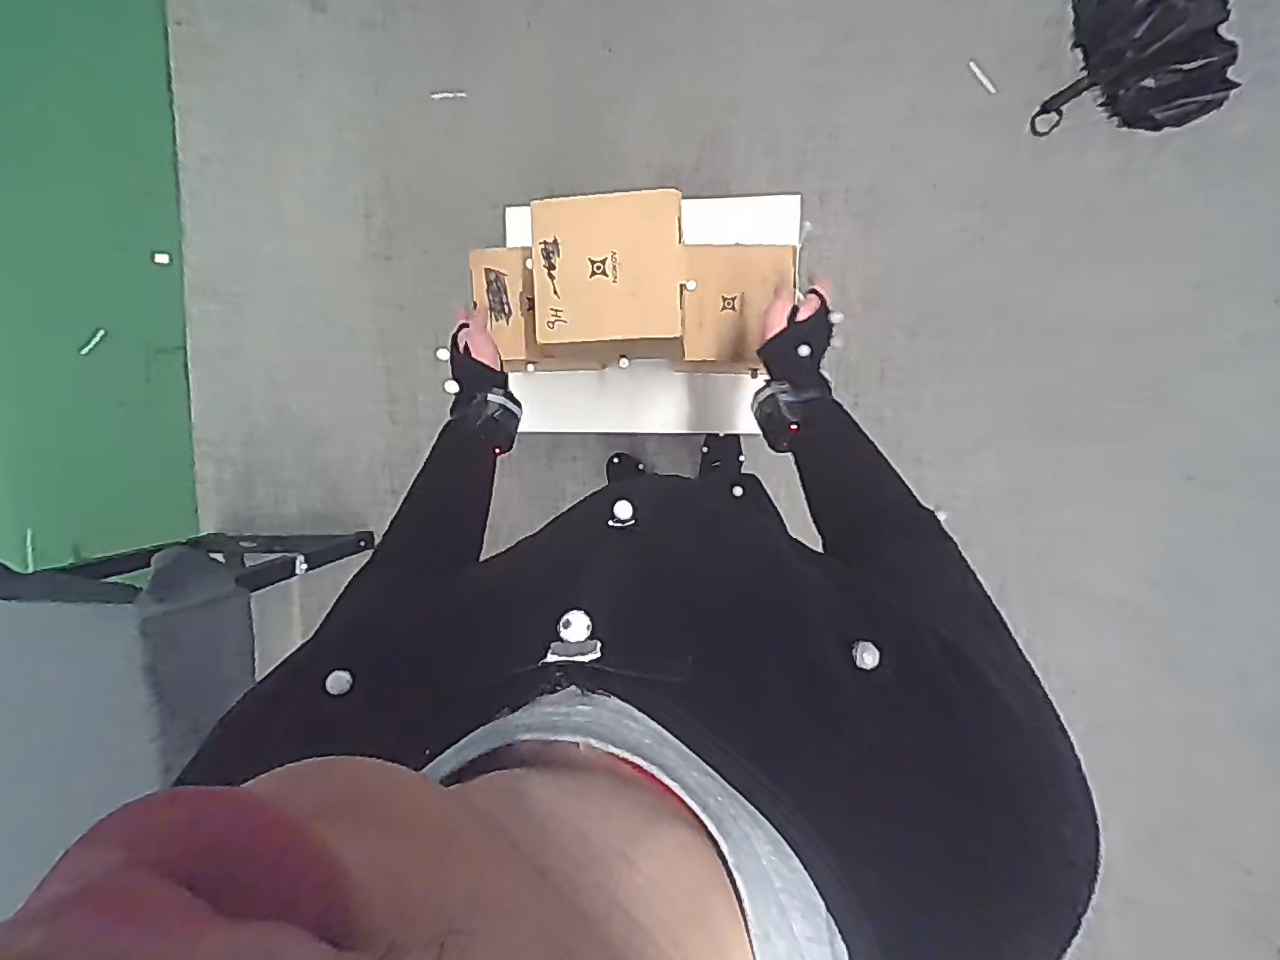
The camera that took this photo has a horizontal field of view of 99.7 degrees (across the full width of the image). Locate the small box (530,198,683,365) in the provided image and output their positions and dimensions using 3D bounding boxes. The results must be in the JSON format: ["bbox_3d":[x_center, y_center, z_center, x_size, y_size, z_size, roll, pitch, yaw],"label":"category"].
[{"bbox_3d":[-0.033,-0.243,0.700,0.179,0.176,0.168,-1,95,6],"label":"small box"}]

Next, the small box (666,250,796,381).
[{"bbox_3d":[0.138,-0.248,0.844,0.179,0.176,0.168,3,94,9],"label":"small box"}]

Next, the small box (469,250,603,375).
[{"bbox_3d":[-0.159,-0.262,0.876,0.179,0.176,0.168,0,95,5],"label":"small box"}]
